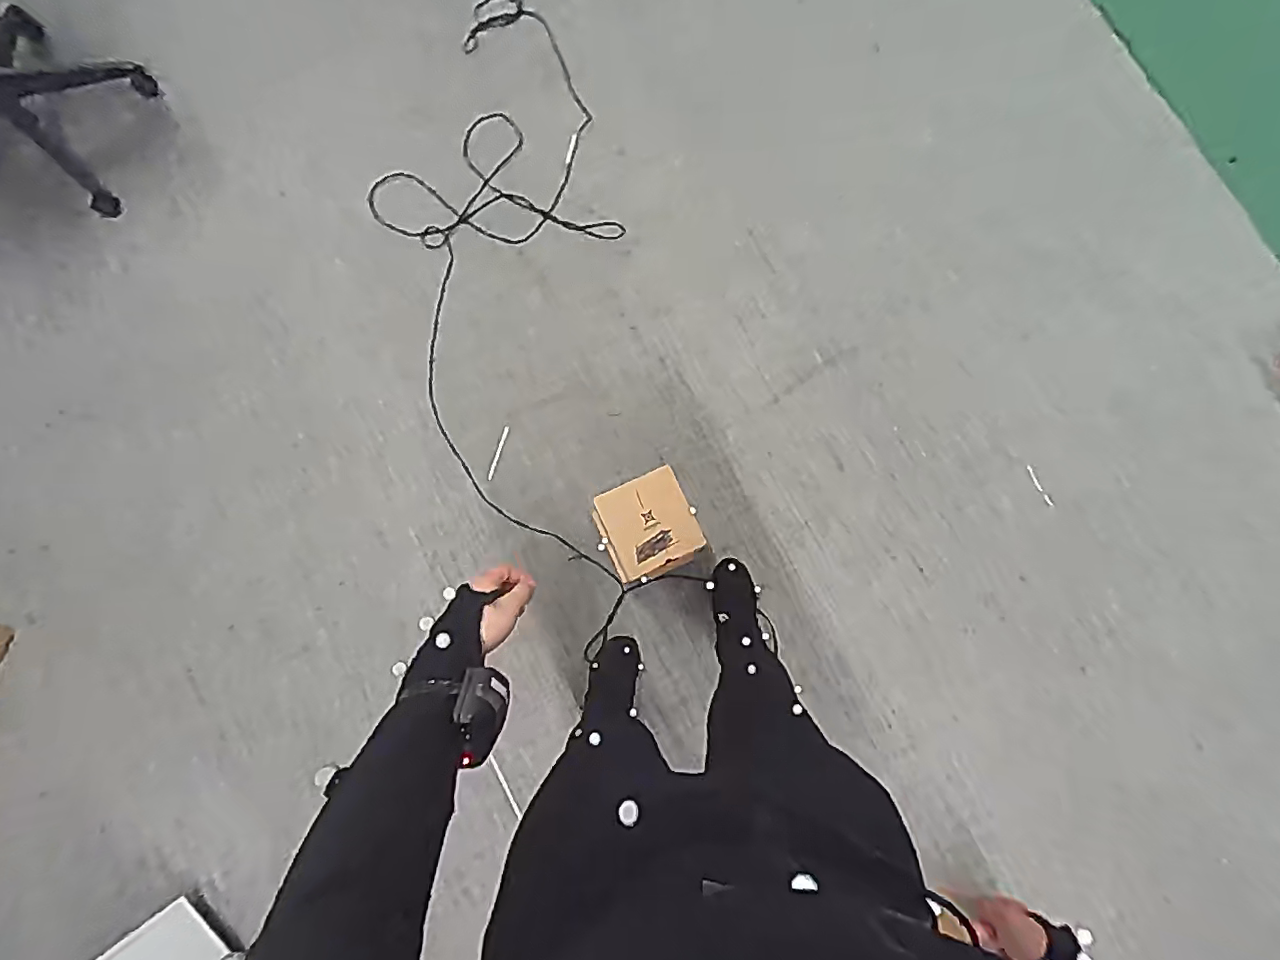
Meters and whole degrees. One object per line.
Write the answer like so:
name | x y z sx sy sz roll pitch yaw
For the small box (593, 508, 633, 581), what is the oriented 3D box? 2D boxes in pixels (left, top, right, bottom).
small box | 0.003 0.123 1.266 0.168 0.176 0.179 -24 81 -6

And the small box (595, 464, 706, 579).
small box | 0.019 0.091 1.105 0.168 0.176 0.179 -24 81 -6

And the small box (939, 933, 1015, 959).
small box | 0.669 0.999 0.986 0.168 0.176 0.179 -28 82 -7
